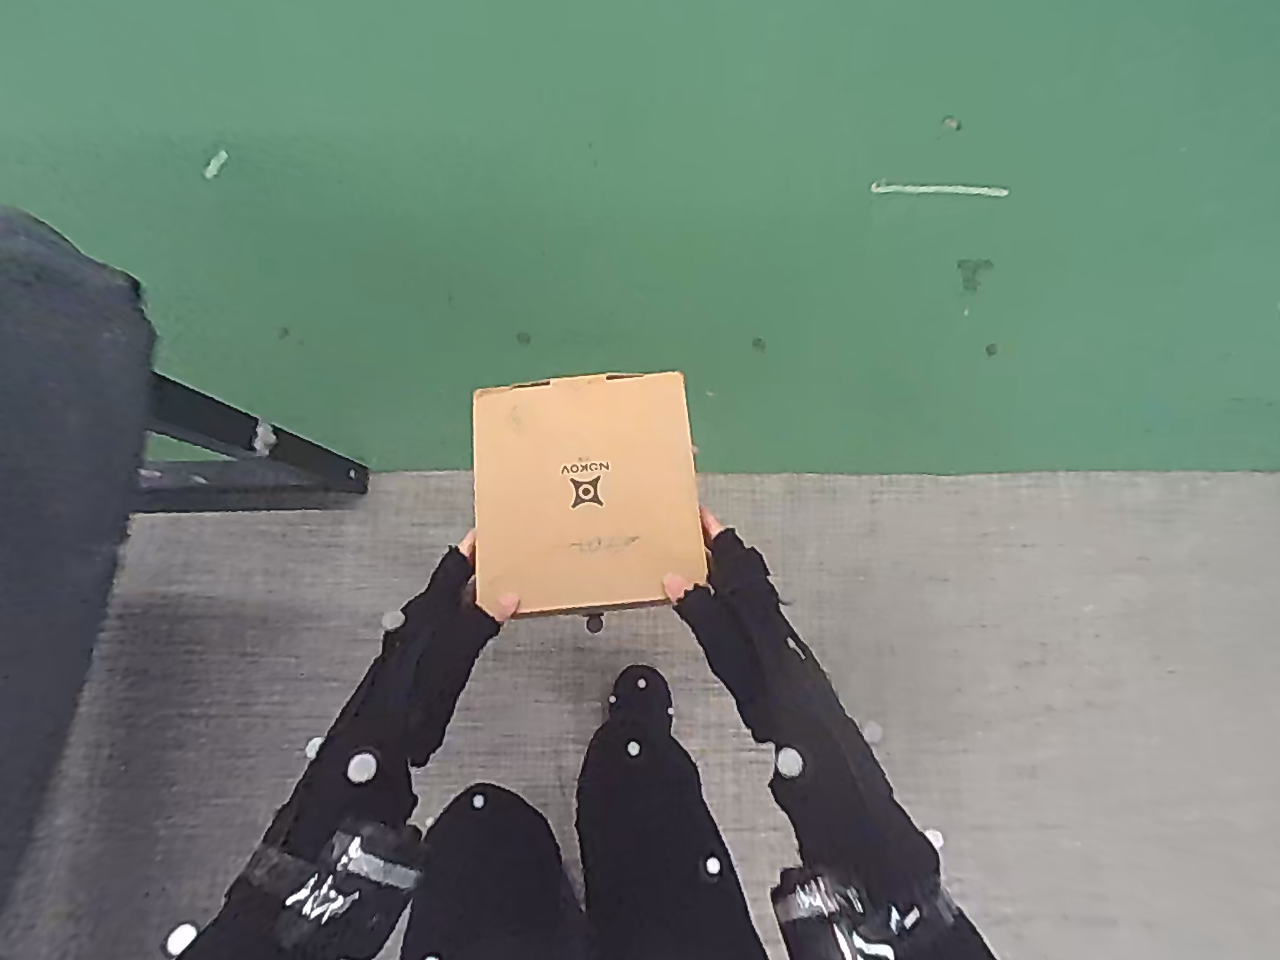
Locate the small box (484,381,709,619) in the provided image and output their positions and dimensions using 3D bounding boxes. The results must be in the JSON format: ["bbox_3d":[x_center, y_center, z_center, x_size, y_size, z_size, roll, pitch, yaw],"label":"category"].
[{"bbox_3d":[-0.037,0.030,0.491,0.168,0.176,0.179,-6,76,-1],"label":"small box"}]
